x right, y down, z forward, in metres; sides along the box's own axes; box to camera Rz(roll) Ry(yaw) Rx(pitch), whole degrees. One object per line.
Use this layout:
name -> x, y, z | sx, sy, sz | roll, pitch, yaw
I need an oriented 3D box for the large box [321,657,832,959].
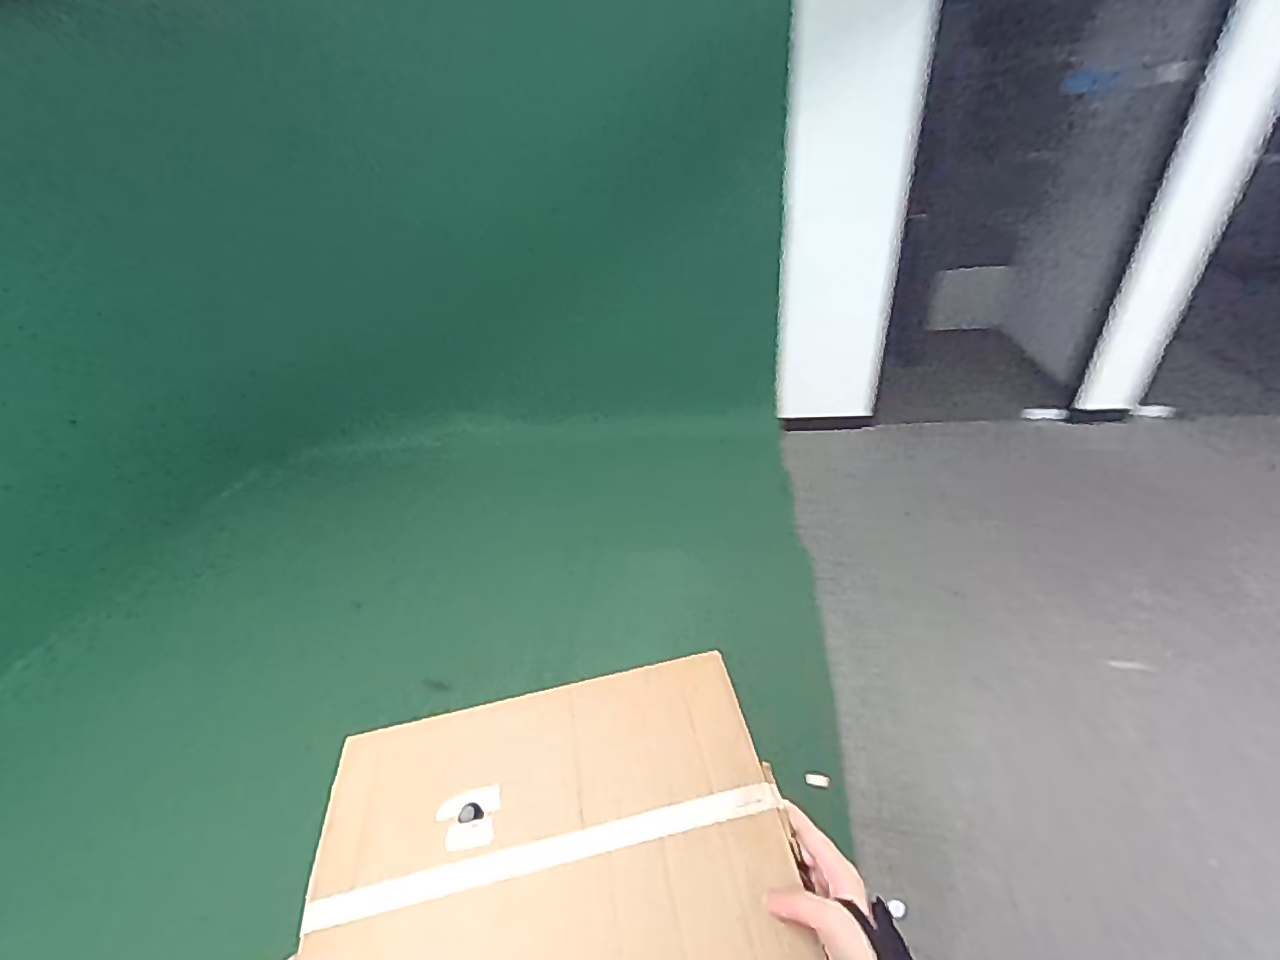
large box -> -0.050, 0.445, 0.567 | 0.408, 0.320, 0.320 | -13, 38, -3
